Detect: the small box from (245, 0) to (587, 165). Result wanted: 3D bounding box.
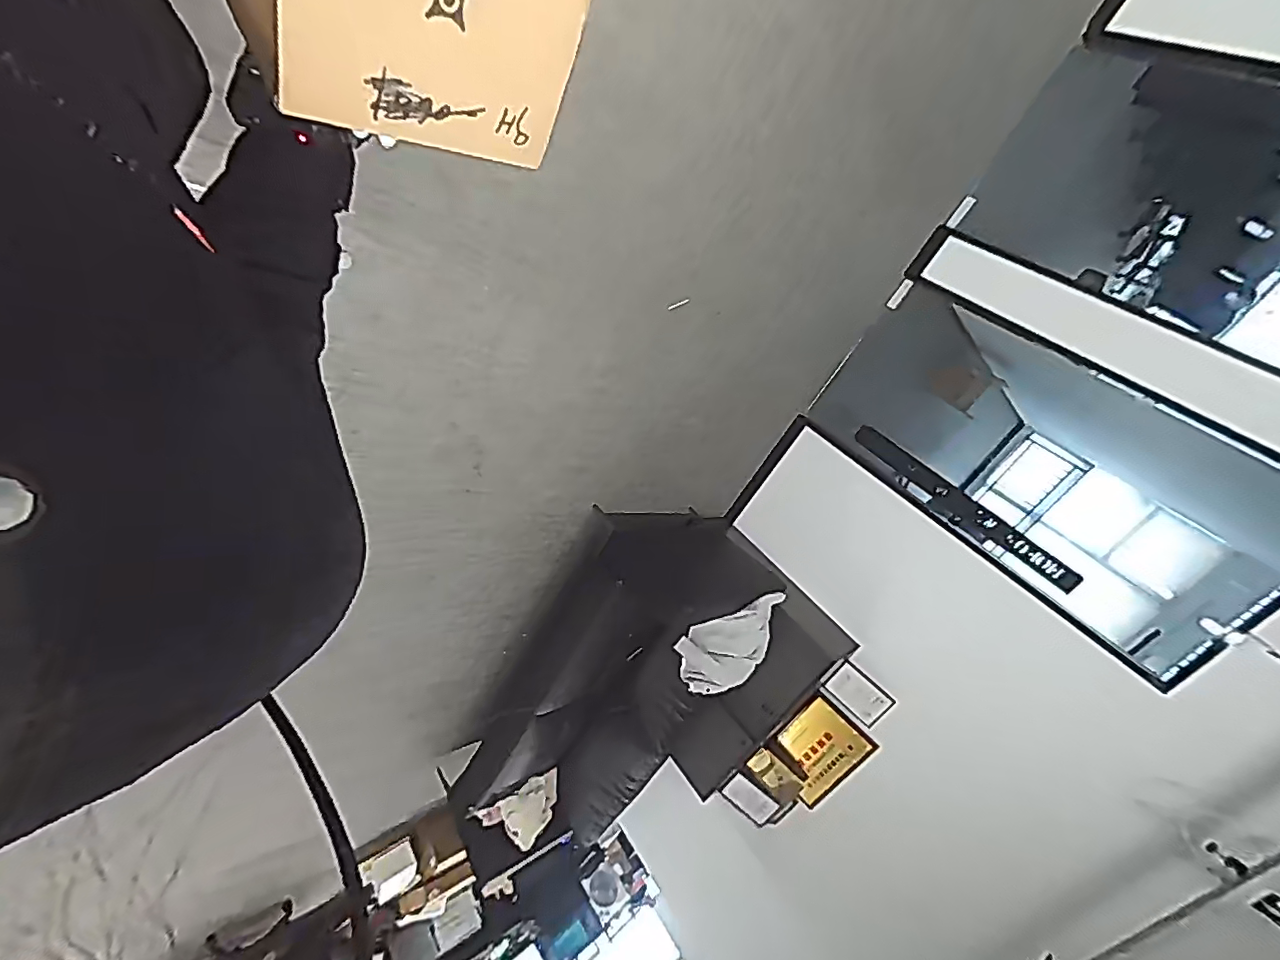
[{"bbox_3d":[-0.143,-0.337,0.330,0.168,0.176,0.179,-12,149,-39],"label":"small box"}]
